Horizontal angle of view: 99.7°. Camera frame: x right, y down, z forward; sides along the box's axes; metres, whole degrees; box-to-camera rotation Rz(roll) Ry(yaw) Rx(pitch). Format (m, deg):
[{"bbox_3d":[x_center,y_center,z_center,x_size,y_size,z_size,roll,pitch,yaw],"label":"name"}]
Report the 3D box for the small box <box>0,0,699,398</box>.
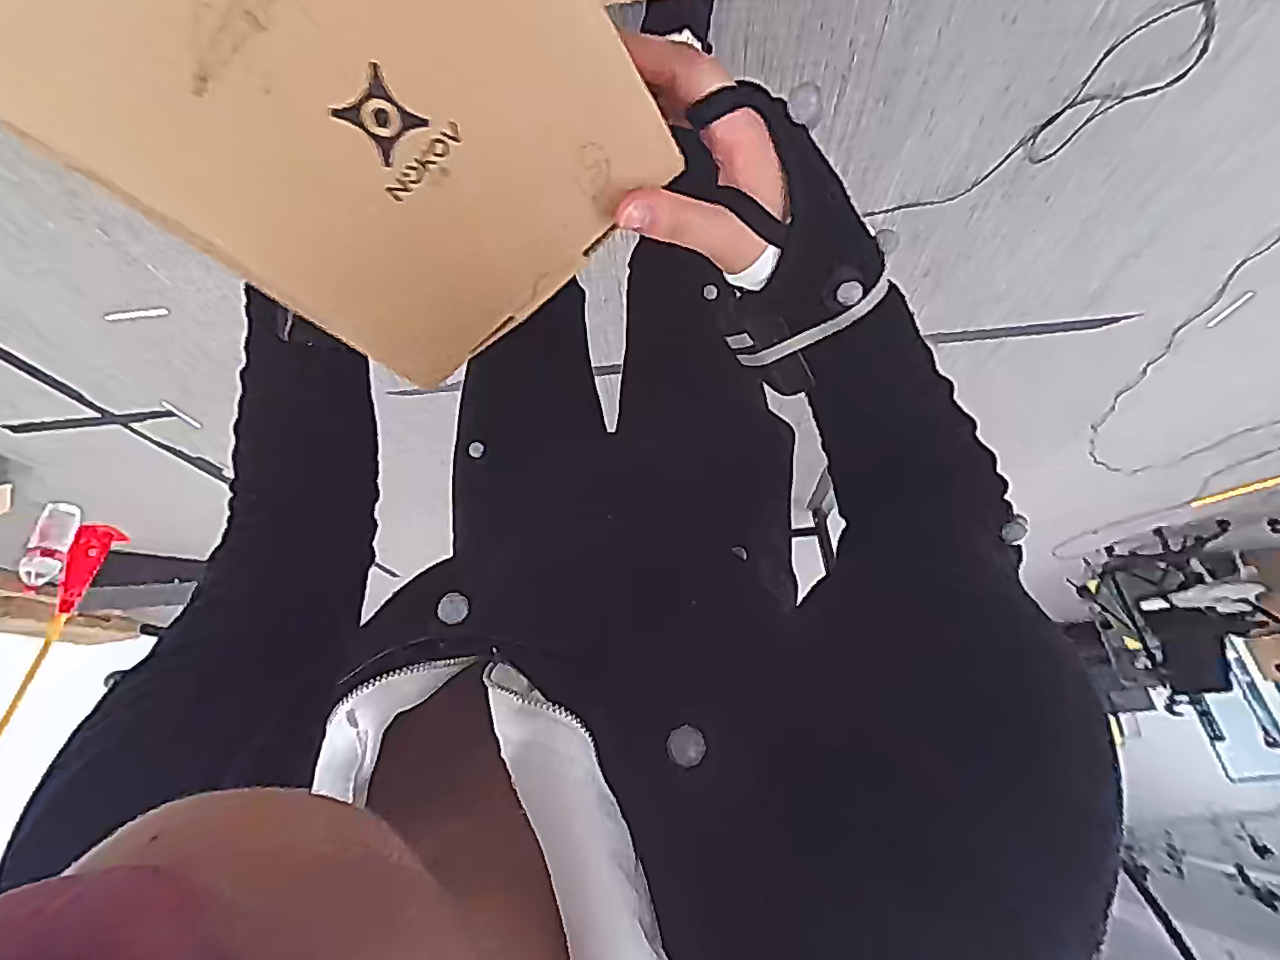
[{"bbox_3d":[-0.107,-0.177,0.234,0.168,0.176,0.179,-36,142,14],"label":"small box"}]
